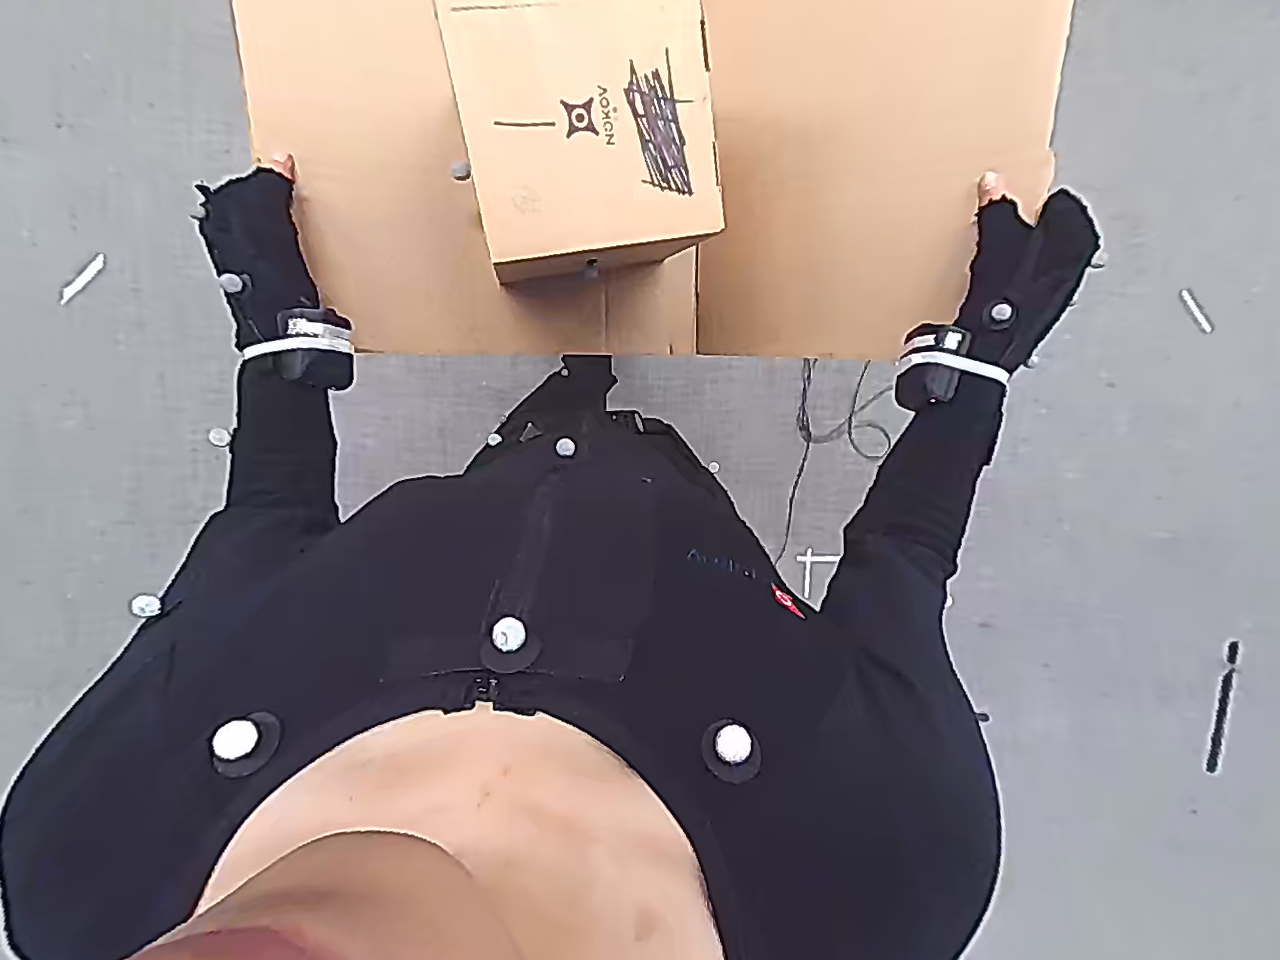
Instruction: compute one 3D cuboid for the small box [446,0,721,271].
[{"bbox_3d":[-0.049,-0.278,0.453,0.179,0.176,0.168,-12,108,-9],"label":"small box"}]
